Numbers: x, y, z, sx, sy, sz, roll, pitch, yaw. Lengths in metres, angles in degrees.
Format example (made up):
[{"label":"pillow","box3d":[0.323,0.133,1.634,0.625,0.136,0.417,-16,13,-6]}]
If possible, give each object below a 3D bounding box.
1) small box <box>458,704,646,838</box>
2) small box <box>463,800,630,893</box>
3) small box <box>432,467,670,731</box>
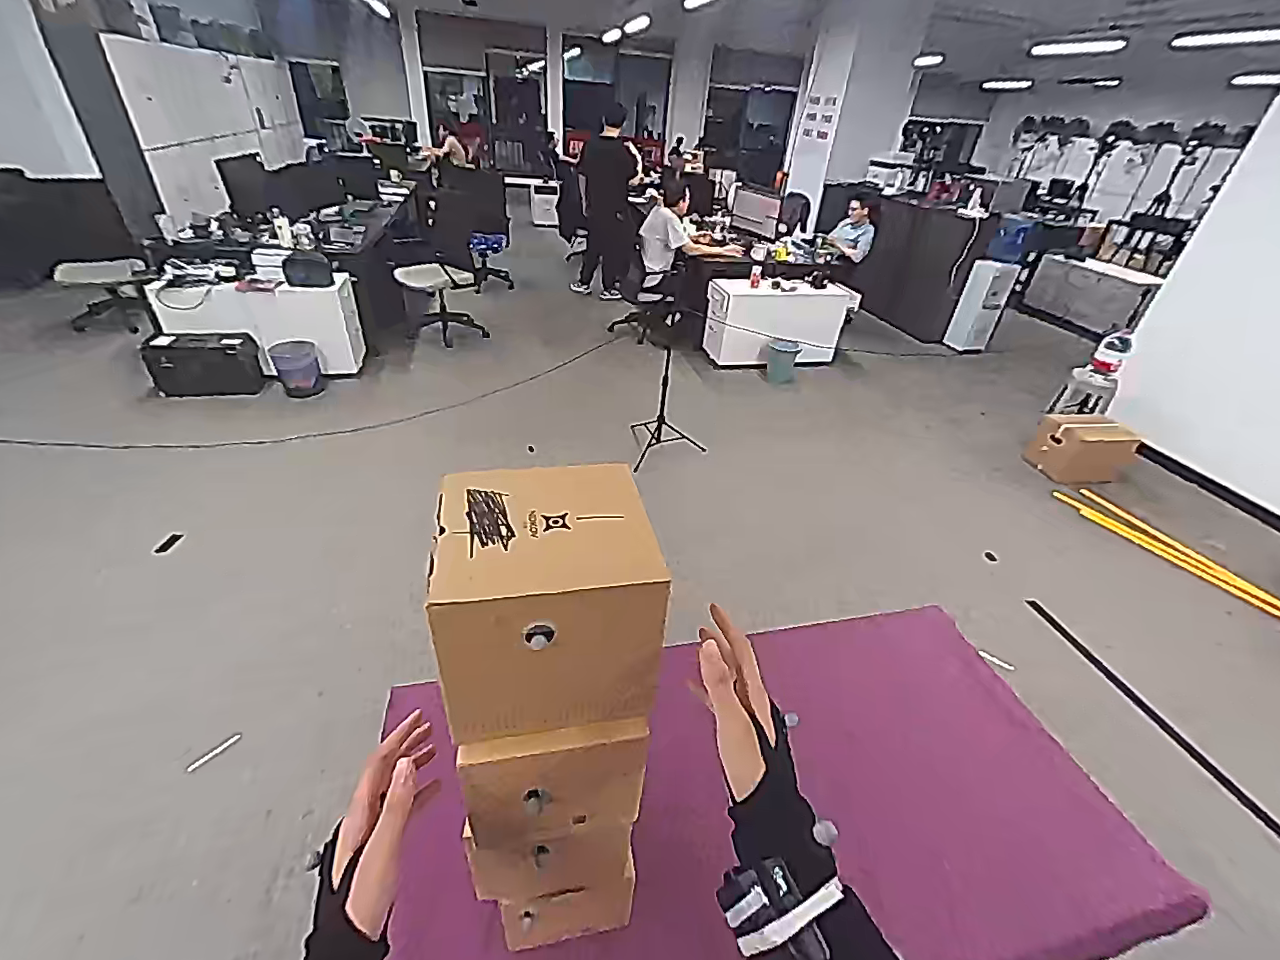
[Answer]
[{"label":"small box","box3d":[-0.093,0.249,0.575,0.168,0.176,0.179,-3,34,-12]},{"label":"small box","box3d":[-0.107,0.382,0.669,0.179,0.176,0.168,1,35,-7]},{"label":"small box","box3d":[-0.082,0.104,0.497,0.179,0.176,0.168,-3,34,-13]}]
